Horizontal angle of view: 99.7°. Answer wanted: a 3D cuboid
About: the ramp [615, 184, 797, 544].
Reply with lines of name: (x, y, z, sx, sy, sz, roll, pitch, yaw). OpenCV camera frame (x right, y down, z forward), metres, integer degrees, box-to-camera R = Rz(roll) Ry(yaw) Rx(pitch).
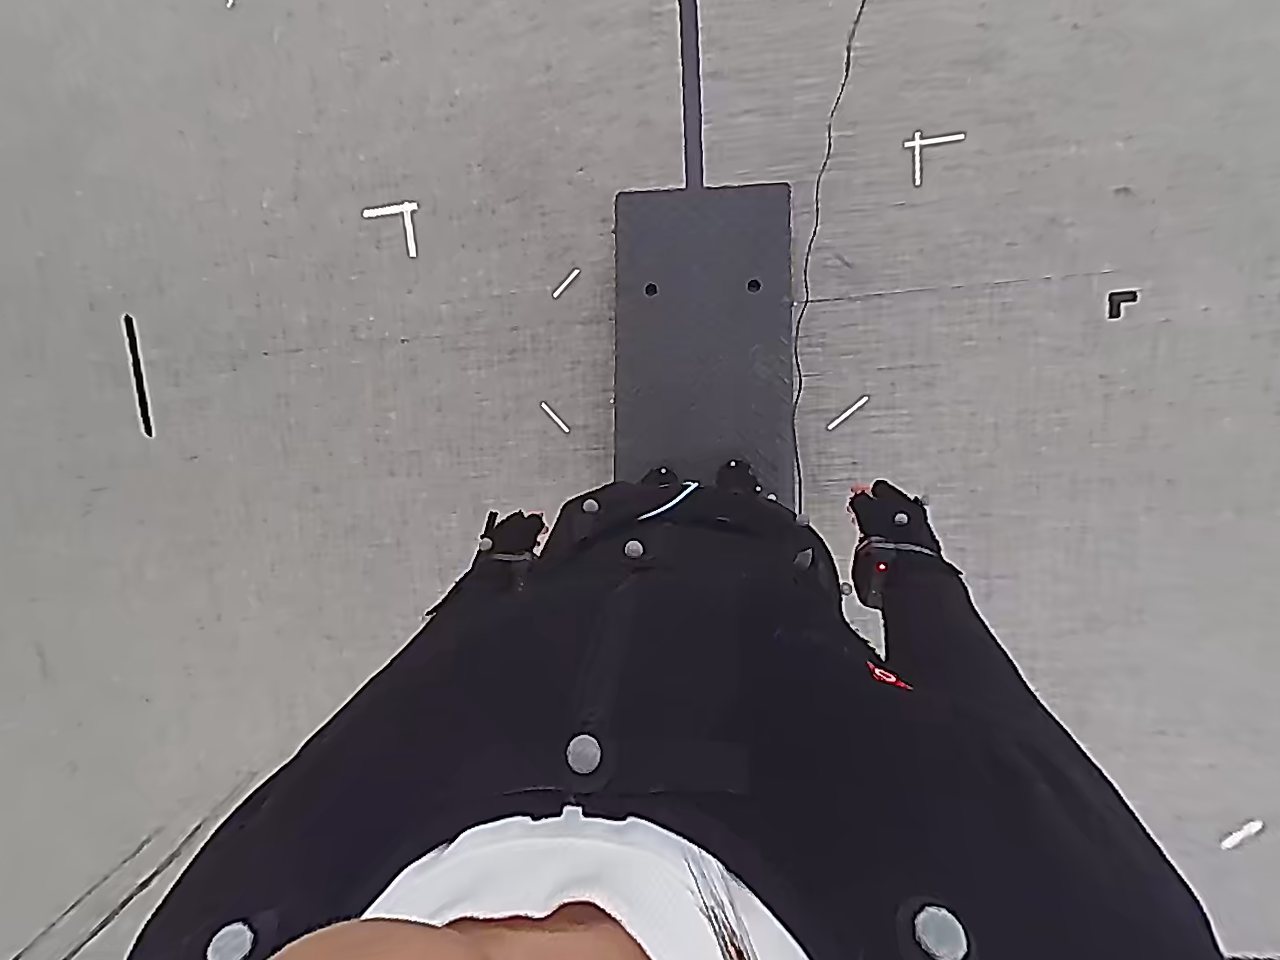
ramp: (0.171, -0.324, 1.493, 0.509, 0.206, 0.991, -2, 96, 7)
